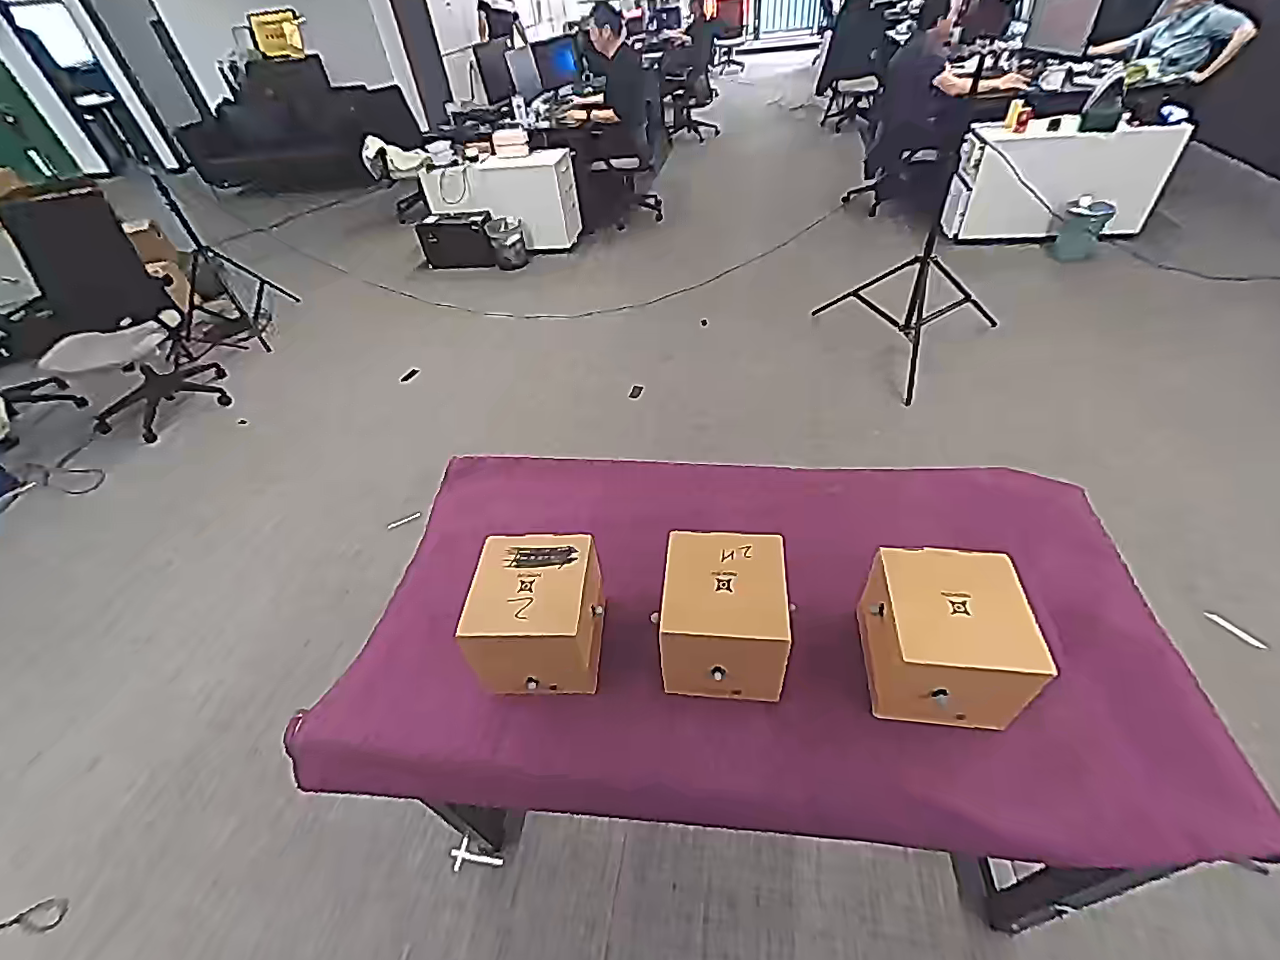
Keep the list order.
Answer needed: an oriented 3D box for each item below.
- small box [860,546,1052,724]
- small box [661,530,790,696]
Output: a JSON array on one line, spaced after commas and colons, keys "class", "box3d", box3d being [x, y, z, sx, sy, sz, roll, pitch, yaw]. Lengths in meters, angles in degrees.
[{"class": "small box", "box3d": [0.411, 0.213, 0.740, 0.168, 0.176, 0.179, 2, 44, 10]}, {"class": "small box", "box3d": [0.125, 0.195, 0.794, 0.168, 0.176, 0.179, 2, 43, 8]}]
